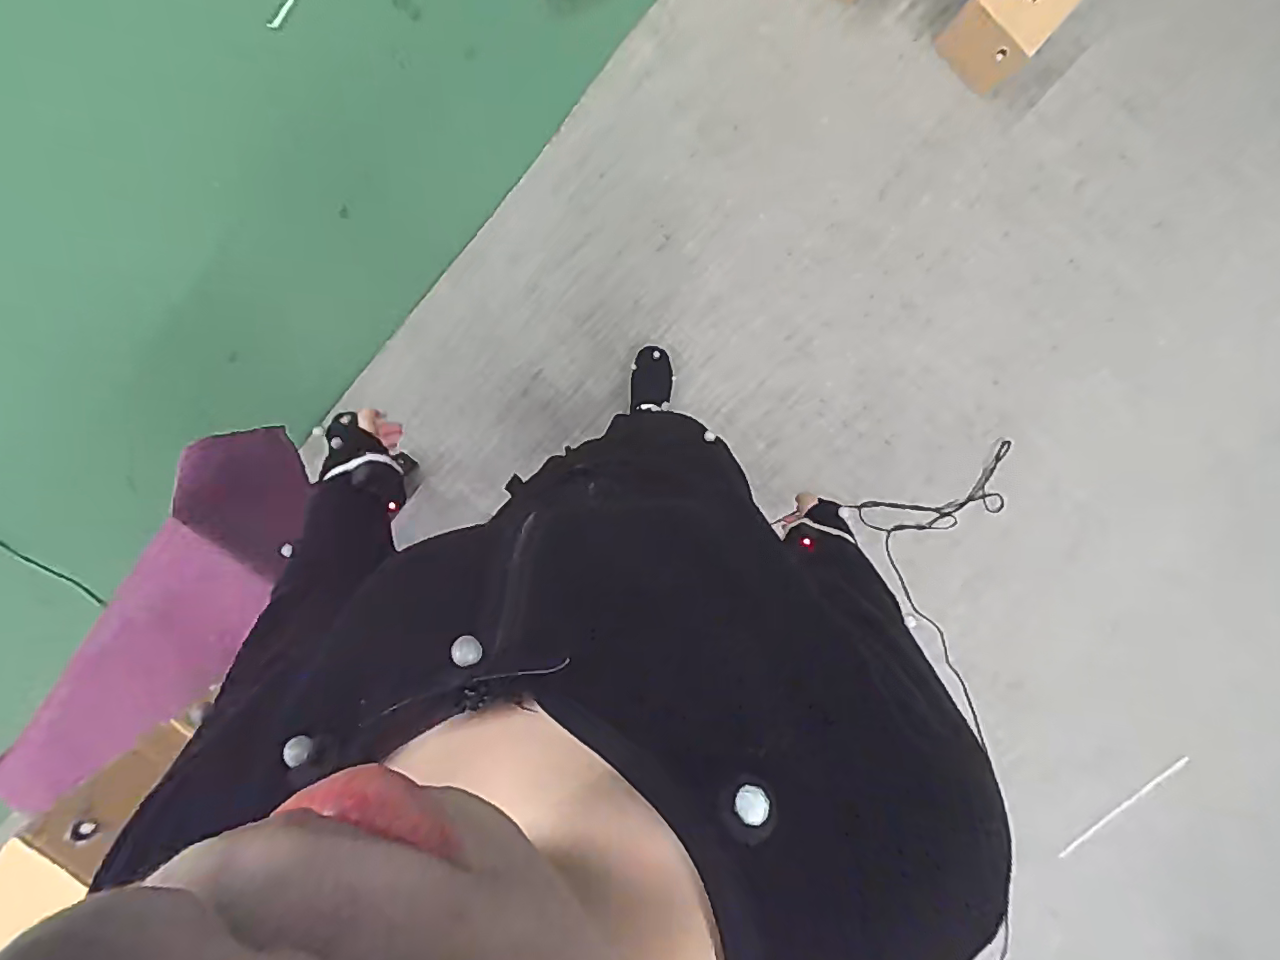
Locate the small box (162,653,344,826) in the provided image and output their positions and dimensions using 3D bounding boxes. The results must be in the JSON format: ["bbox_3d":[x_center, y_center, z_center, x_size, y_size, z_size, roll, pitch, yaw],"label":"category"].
[{"bbox_3d":[-0.568,0.383,0.764,0.168,0.176,0.179,-43,98,8],"label":"small box"}]

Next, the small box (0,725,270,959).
[{"bbox_3d":[-0.574,0.421,0.606,0.179,0.176,0.168,44,99,-7],"label":"small box"}]

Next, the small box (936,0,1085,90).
[{"bbox_3d":[0.799,-1.003,1.181,0.179,0.176,0.168,41,99,-7],"label":"small box"}]
